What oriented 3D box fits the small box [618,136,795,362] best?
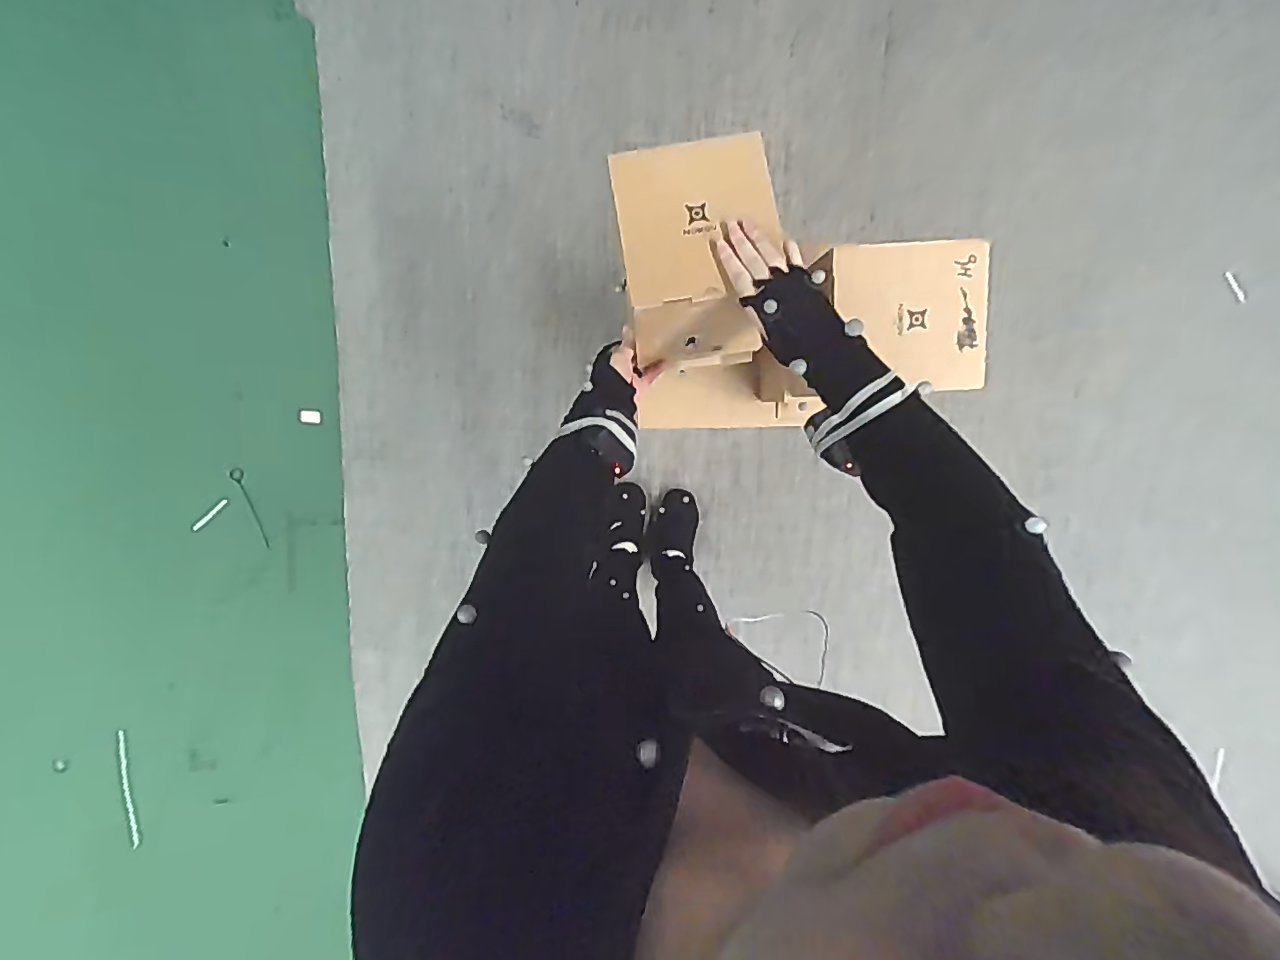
[{"bbox_3d":[0.066,-0.261,0.642,0.168,0.176,0.179,-9,81,-1],"label":"small box"}]
